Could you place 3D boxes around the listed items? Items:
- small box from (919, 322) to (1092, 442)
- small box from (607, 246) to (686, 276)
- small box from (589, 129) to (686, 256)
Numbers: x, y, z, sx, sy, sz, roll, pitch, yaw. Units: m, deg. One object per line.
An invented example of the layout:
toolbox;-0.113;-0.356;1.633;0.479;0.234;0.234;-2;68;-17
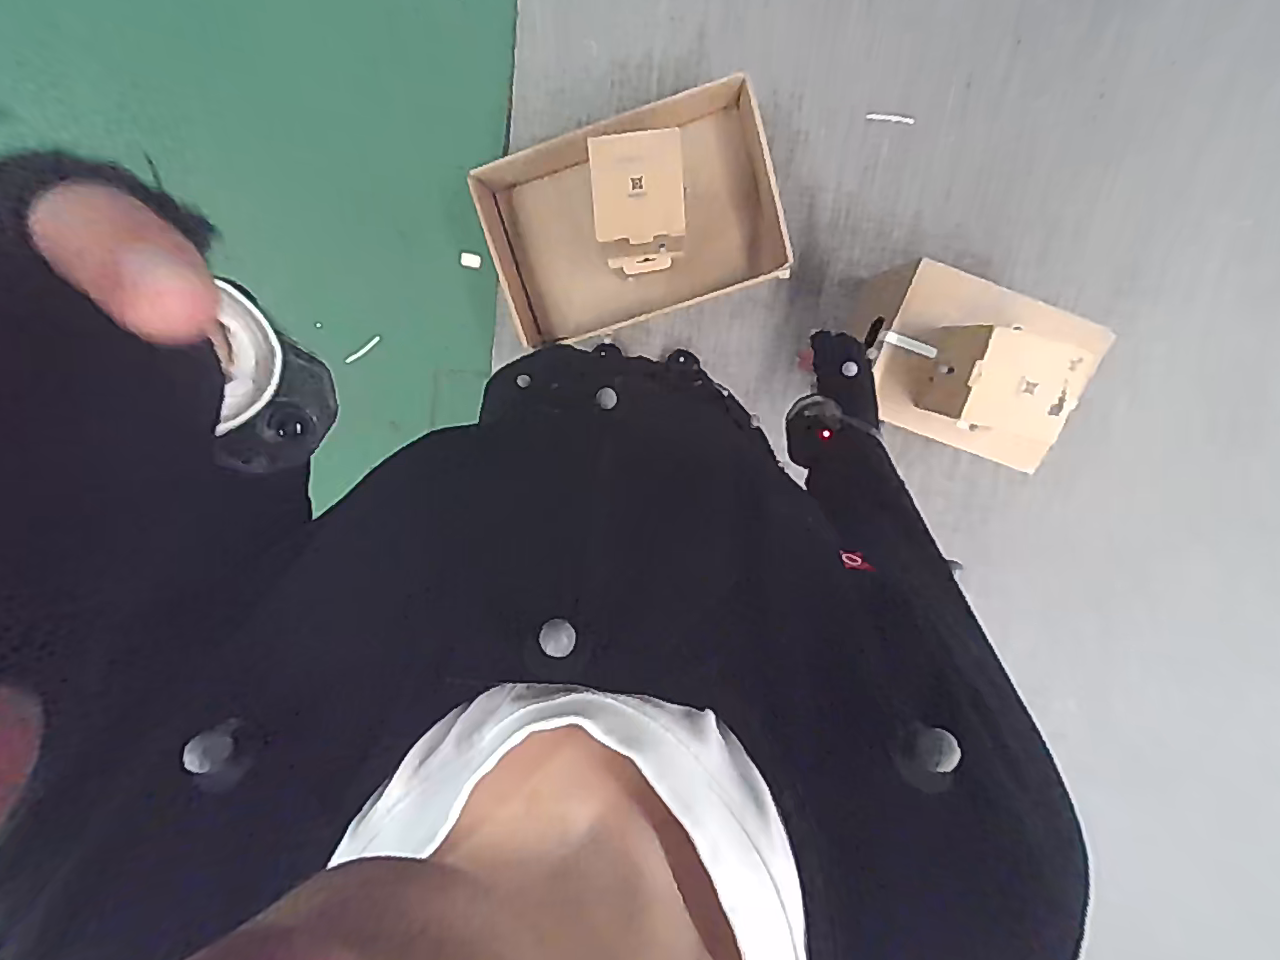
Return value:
small box;0.650;-0.182;0.989;0.179;0.176;0.168;15;105;0
small box;0.011;-0.562;1.202;0.168;0.176;0.179;-8;101;6
small box;0.002;-0.539;1.042;0.168;0.176;0.179;-4;101;4
